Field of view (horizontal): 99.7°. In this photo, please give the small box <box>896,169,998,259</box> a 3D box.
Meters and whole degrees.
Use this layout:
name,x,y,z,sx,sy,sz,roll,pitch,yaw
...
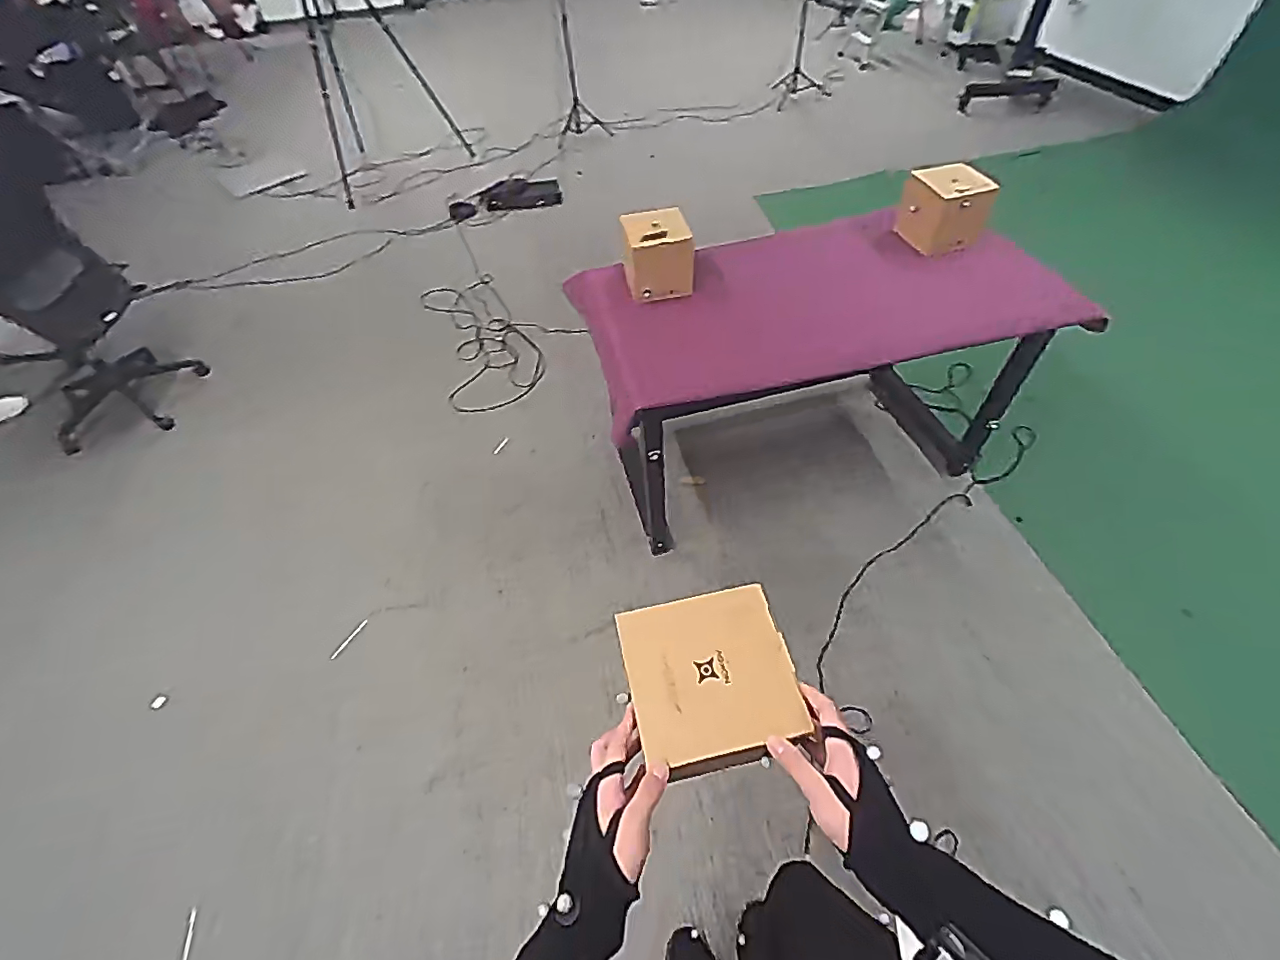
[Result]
name,x,y,z,sx,sy,sz,roll,pitch,yaw
small box,0.873,-0.766,1.562,0.168,0.176,0.179,-15,51,-5

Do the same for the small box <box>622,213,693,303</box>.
name,x,y,z,sx,sy,sz,roll,pitch,yaw
small box,0.050,-0.611,1.507,0.168,0.176,0.179,-11,52,-5

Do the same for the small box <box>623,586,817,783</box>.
name,x,y,z,sx,sy,sz,roll,pitch,yaw
small box,0.080,0.245,0.641,0.179,0.176,0.168,-10,56,-5
